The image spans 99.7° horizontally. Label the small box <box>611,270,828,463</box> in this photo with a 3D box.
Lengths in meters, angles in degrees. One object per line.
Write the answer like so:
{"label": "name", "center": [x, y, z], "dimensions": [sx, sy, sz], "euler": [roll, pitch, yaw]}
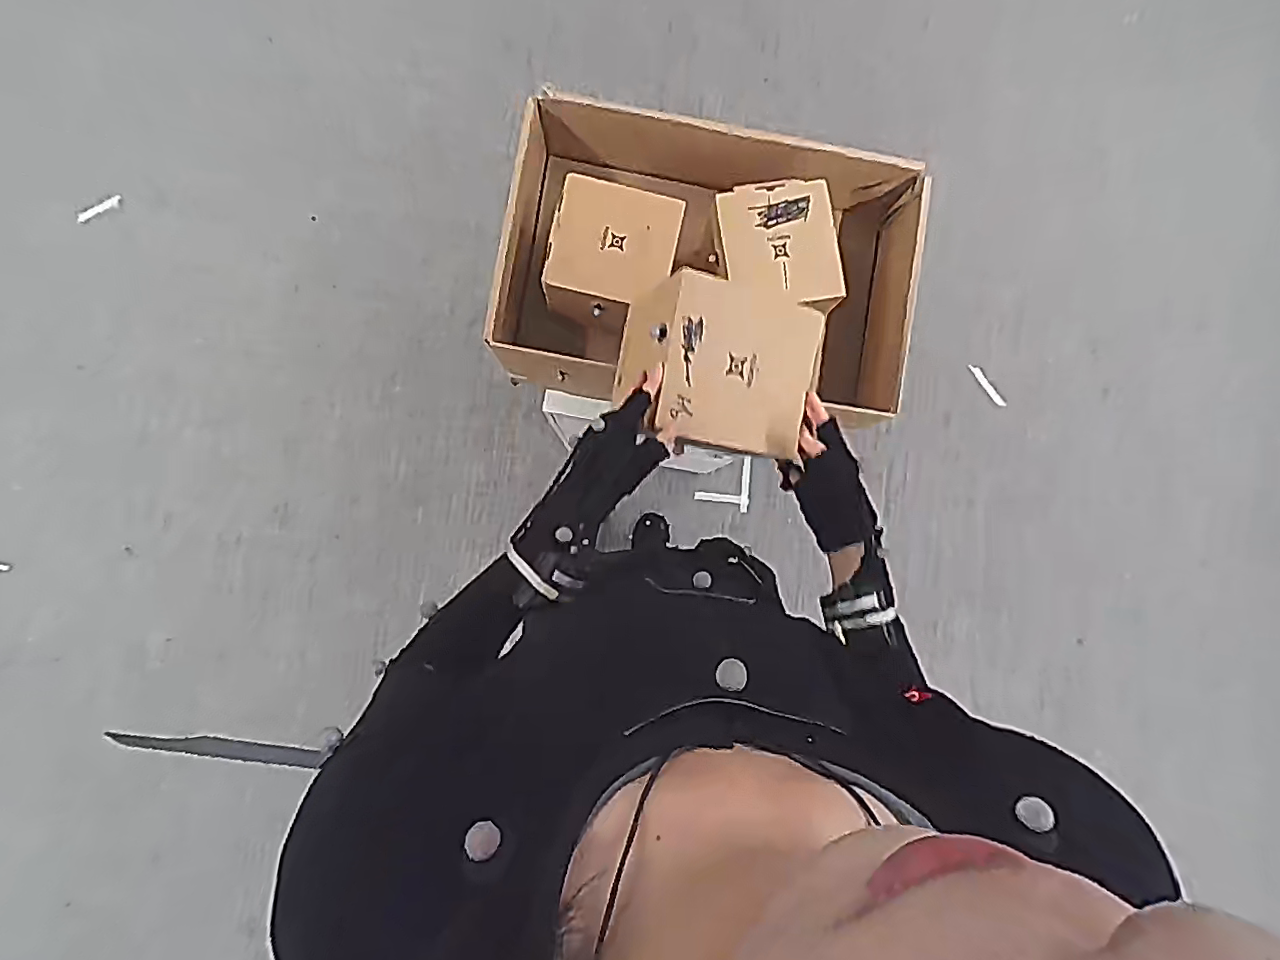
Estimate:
{"label": "small box", "center": [0.083, -0.120, 0.637], "dimensions": [0.179, 0.176, 0.168], "euler": [11, 91, -20]}
